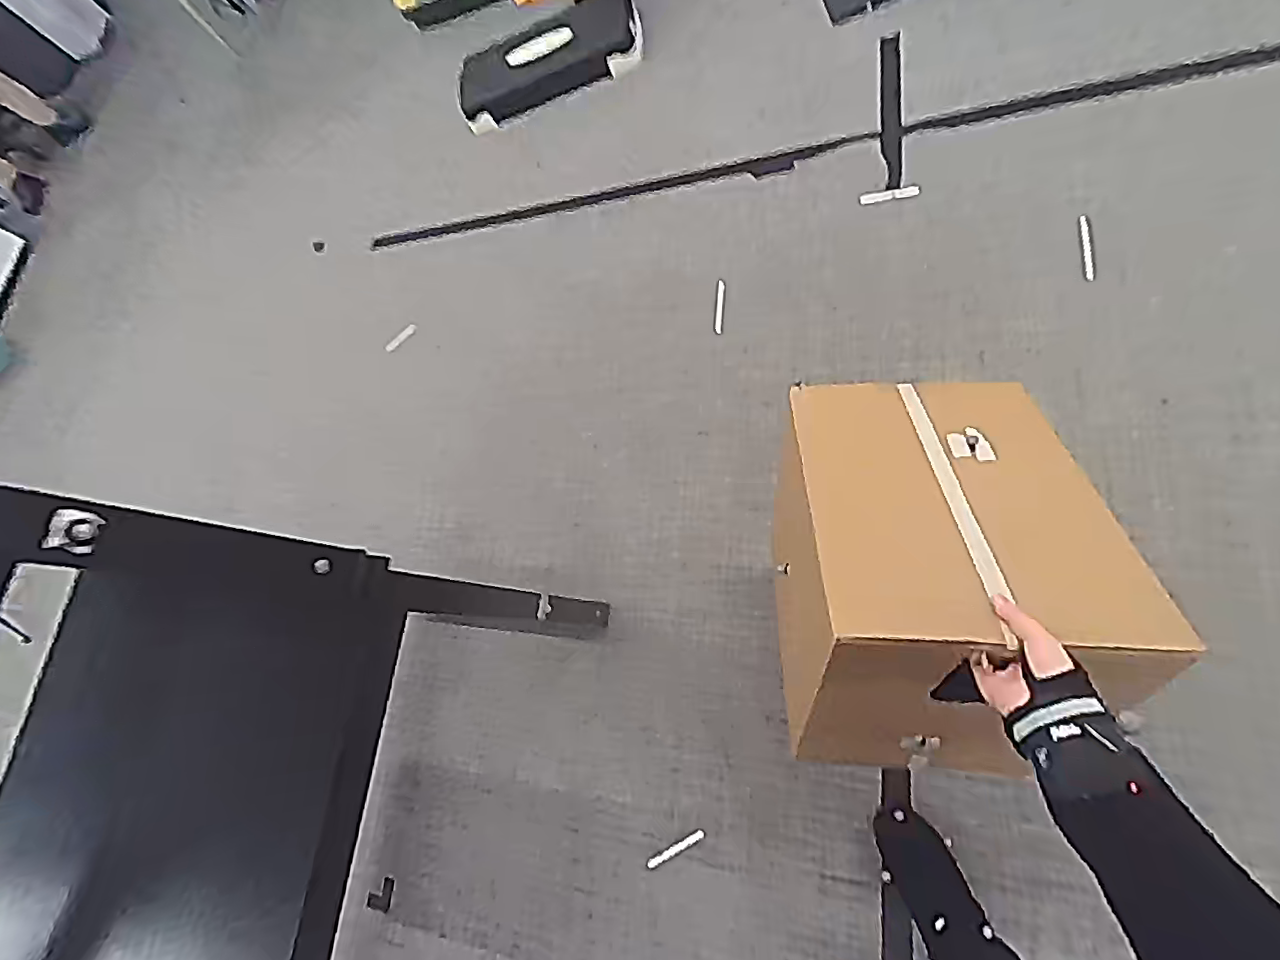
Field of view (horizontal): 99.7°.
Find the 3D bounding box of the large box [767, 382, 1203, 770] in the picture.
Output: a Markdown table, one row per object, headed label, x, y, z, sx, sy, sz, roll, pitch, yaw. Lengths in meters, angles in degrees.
| label | x | y | z | sx | sy | sz | roll | pitch | yaw |
| --- | --- | --- | --- | --- | --- | --- | --- | --- | --- |
| large box | 0.351 | 0.115 | 0.711 | 0.320 | 0.320 | 0.408 | 0 | 43 | 6 |
